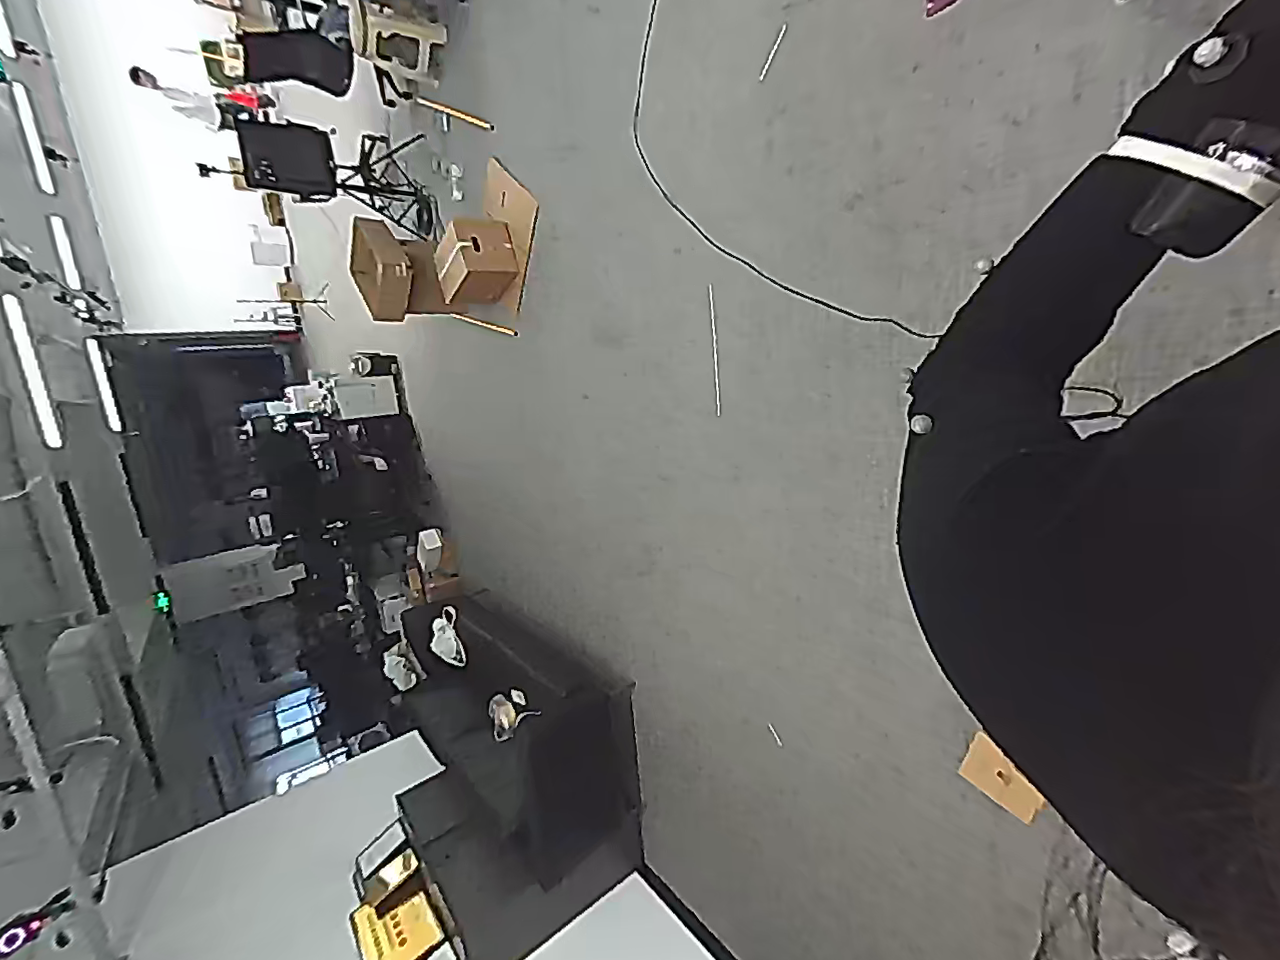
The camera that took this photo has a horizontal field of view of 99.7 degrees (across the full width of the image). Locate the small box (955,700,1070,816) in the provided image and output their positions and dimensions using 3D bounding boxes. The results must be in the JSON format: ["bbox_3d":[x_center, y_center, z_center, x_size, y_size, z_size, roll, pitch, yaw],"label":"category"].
[{"bbox_3d":[0.974,0.715,1.411,0.179,0.176,0.168,33,126,44],"label":"small box"}]
